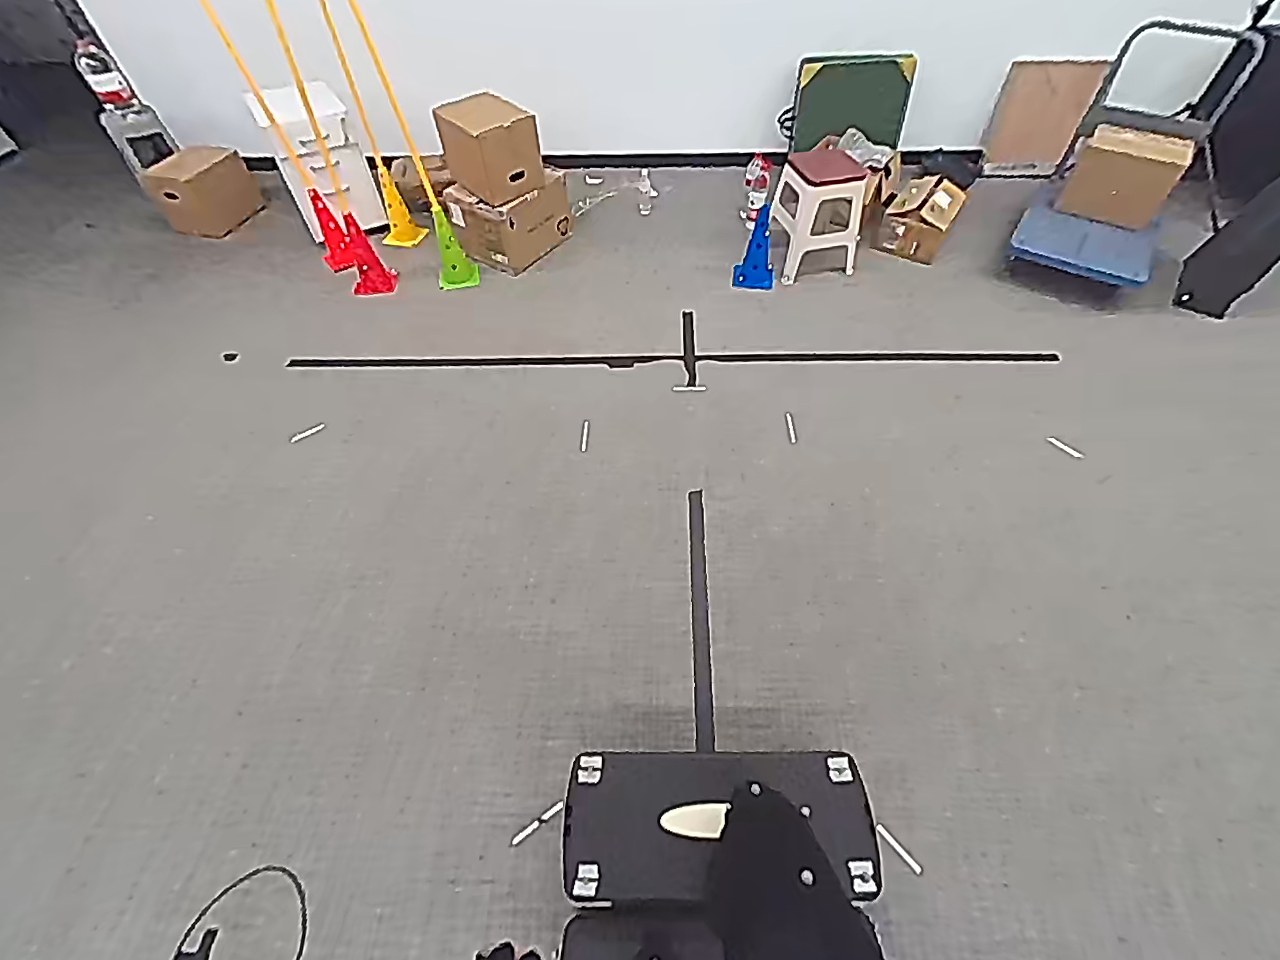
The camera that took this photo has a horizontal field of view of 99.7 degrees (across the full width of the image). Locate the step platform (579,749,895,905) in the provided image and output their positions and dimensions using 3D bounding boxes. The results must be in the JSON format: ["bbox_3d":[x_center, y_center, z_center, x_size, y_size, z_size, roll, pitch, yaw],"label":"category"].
[{"bbox_3d":[0.203,0.783,1.233,0.684,0.204,0.286,-1,52,-1],"label":"step platform"}]
